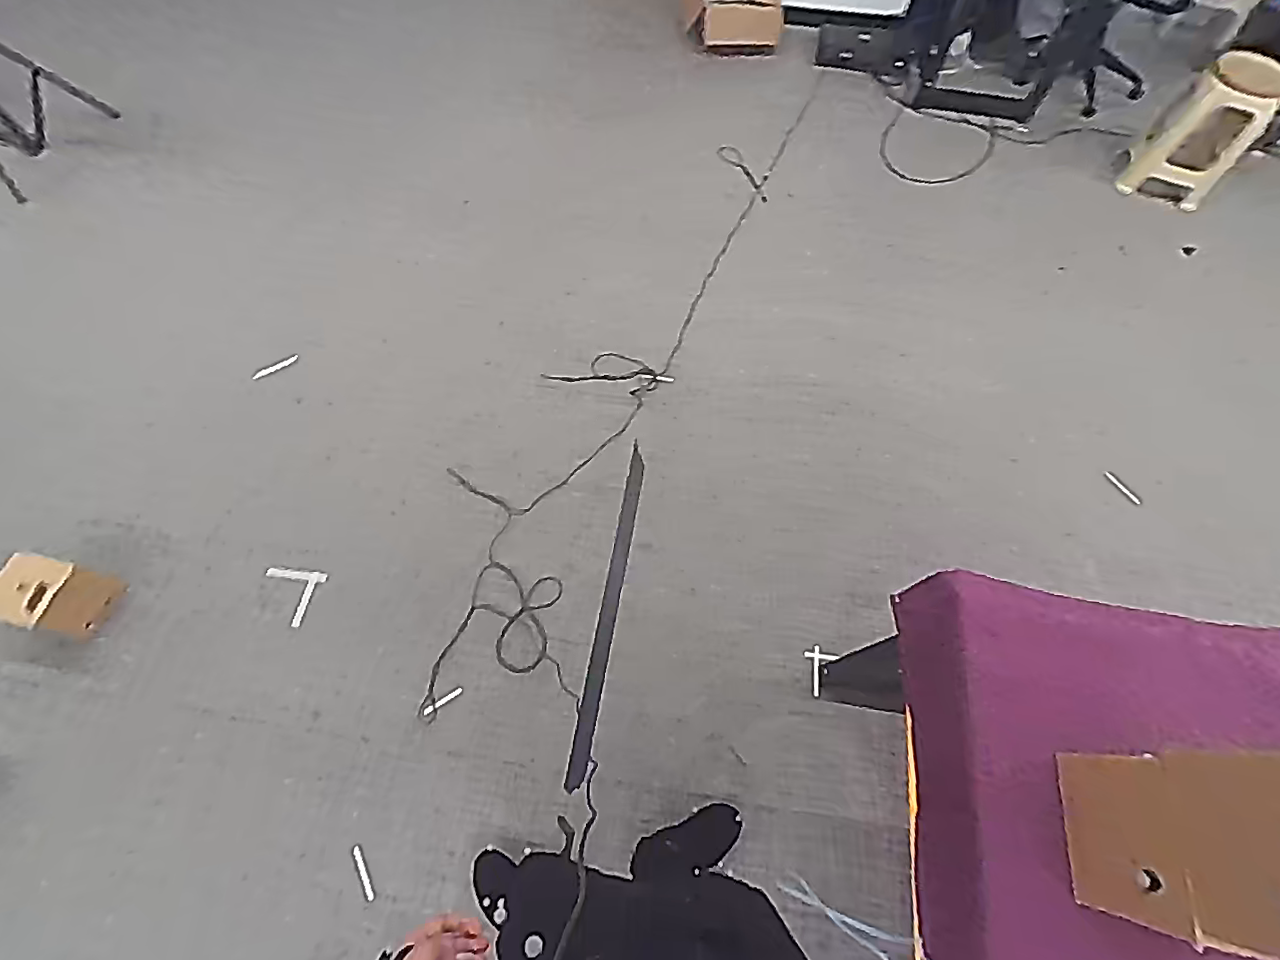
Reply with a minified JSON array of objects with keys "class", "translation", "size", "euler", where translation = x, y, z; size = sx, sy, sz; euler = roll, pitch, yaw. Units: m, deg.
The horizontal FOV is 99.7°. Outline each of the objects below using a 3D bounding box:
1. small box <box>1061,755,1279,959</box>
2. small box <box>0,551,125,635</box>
[{"class":"small box","translation":[0.654,0.445,0.649],"size":[0.168,0.176,0.179],"euler":[11,64,3]},{"class":"small box","translation":[-1.560,0.308,1.445],"size":[0.179,0.176,0.168],"euler":[12,64,4]}]
